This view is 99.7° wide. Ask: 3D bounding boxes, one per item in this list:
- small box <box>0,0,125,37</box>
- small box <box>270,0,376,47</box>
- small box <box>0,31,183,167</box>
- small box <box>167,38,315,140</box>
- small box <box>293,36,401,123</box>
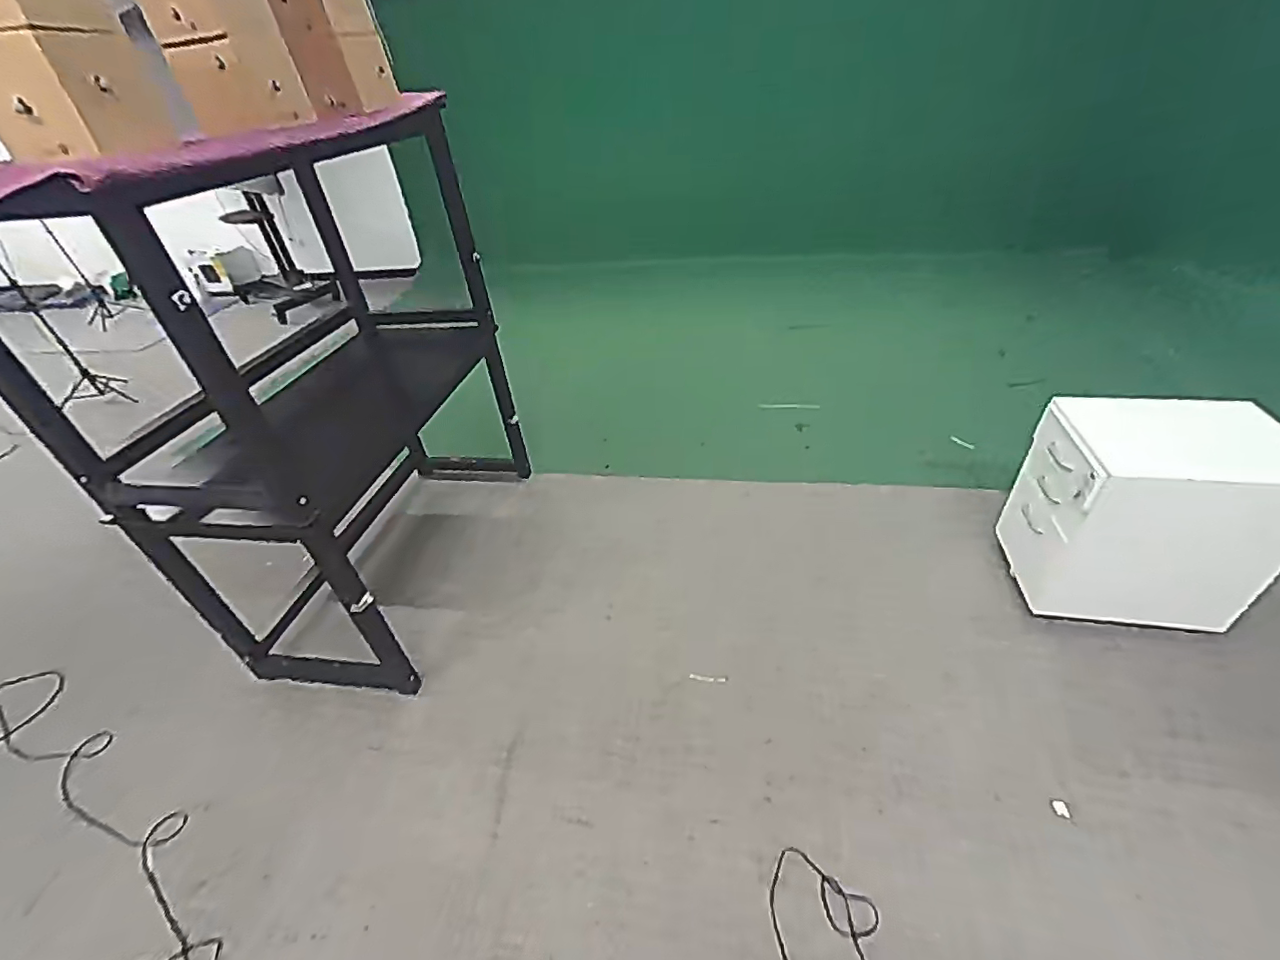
[{"bbox_3d":[-0.943,-0.759,0.800,0.168,0.176,0.179,-2,37,4],"label":"small box"},{"bbox_3d":[-0.818,-1.222,1.385,0.168,0.176,0.179,5,40,19],"label":"small box"},{"bbox_3d":[-0.931,-0.628,0.899,0.168,0.176,0.179,0,38,6],"label":"small box"},{"bbox_3d":[-0.886,-0.884,1.225,0.179,0.176,0.168,2,38,11],"label":"small box"},{"bbox_3d":[-0.790,-1.098,1.485,0.168,0.176,0.179,3,41,16],"label":"small box"}]
